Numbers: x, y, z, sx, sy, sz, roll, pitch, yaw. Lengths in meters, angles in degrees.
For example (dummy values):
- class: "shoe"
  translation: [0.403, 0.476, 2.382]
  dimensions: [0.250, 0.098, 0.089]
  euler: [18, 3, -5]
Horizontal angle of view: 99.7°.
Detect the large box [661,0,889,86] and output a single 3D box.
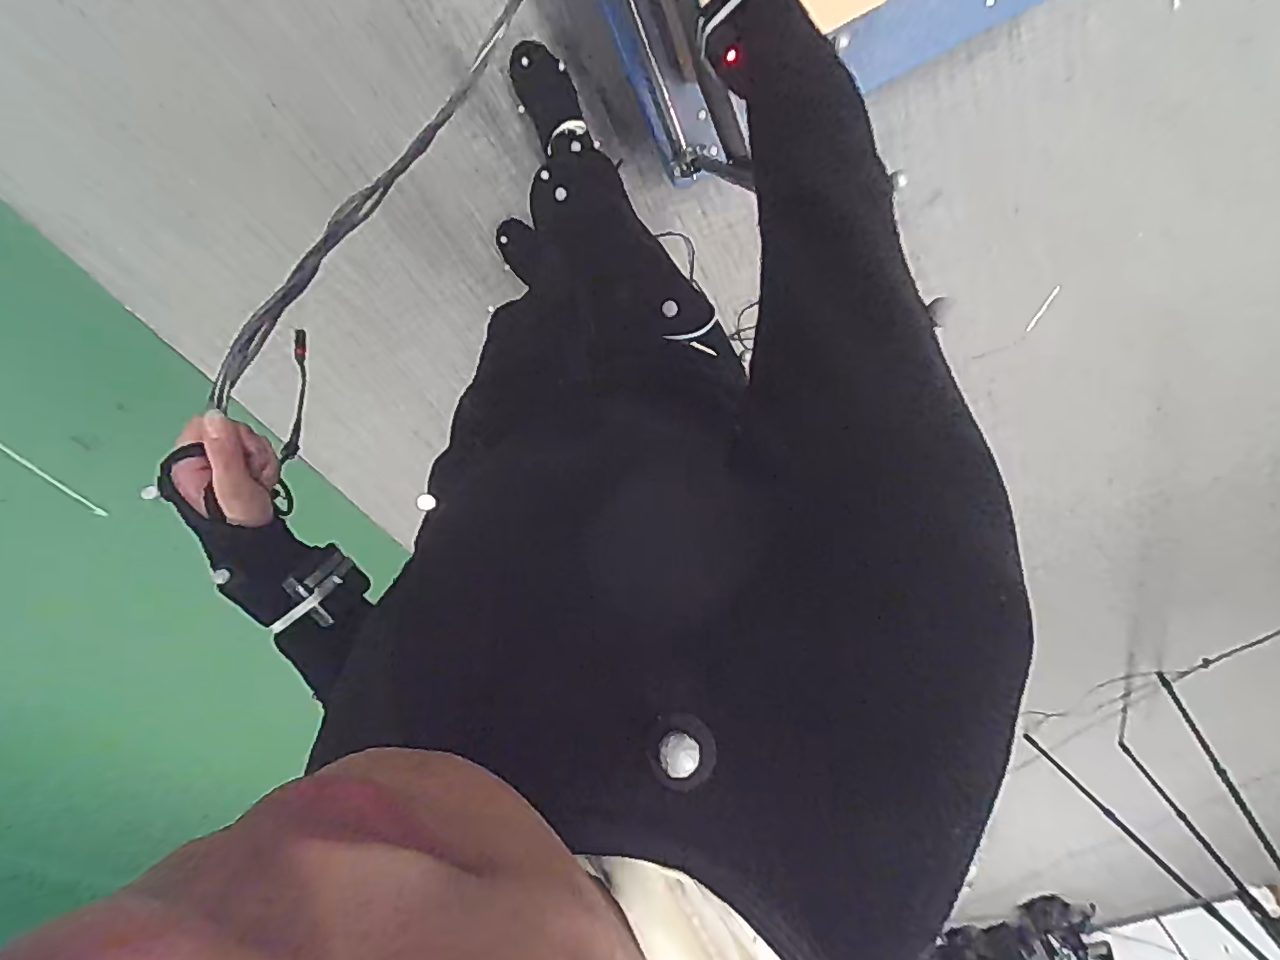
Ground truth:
- class: "large box"
  translation: [0.227, -0.881, 0.840]
  dimensions: [0.408, 0.320, 0.320]
  euler: [-23, 127, 8]
